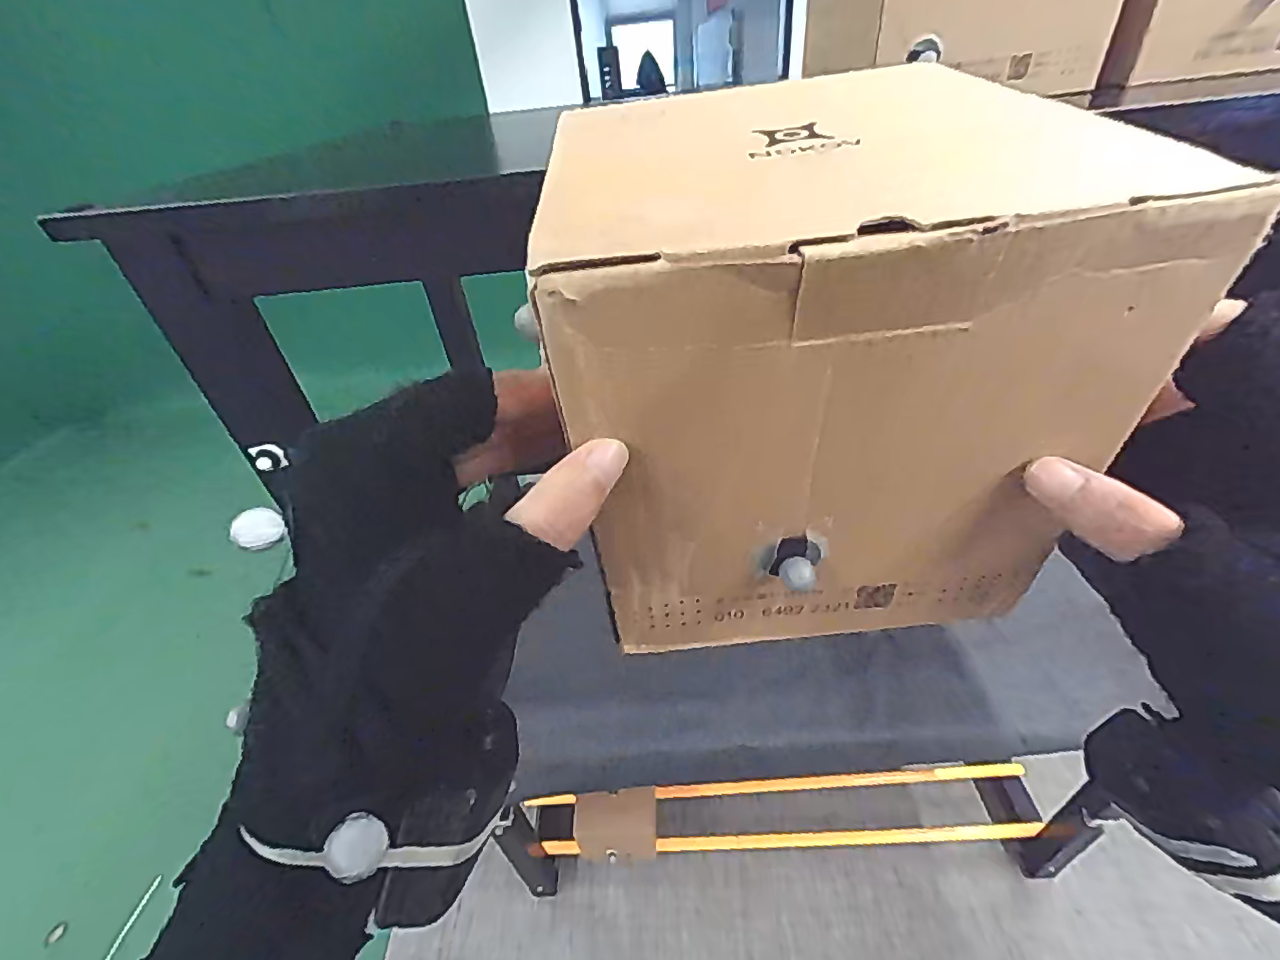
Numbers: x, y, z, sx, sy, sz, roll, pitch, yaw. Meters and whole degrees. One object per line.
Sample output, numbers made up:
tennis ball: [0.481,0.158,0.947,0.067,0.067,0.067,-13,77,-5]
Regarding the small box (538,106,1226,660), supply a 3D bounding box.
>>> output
small box: [0.060,-0.044,0.243,0.168,0.176,0.179,-7,45,2]
